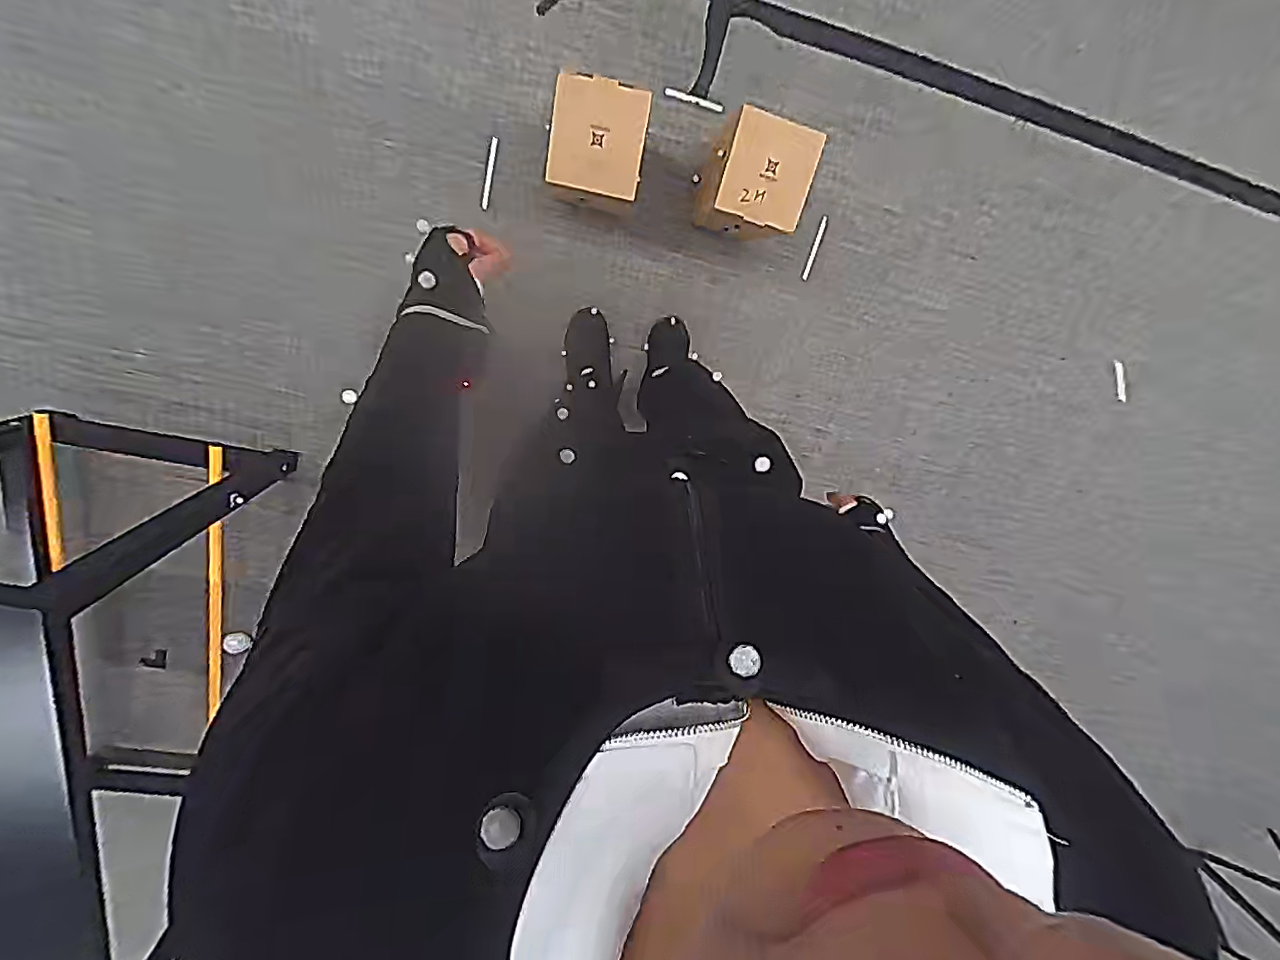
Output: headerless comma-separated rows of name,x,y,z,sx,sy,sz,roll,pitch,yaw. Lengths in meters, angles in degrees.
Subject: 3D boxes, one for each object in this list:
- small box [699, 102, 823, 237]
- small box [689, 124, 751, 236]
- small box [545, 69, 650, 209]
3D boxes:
small box,0.227,-0.598,1.068,0.168,0.176,0.179,13,109,-10
small box,0.217,-0.663,1.221,0.168,0.176,0.179,12,110,-10
small box,-0.082,-0.633,1.027,0.168,0.176,0.179,9,111,-7
